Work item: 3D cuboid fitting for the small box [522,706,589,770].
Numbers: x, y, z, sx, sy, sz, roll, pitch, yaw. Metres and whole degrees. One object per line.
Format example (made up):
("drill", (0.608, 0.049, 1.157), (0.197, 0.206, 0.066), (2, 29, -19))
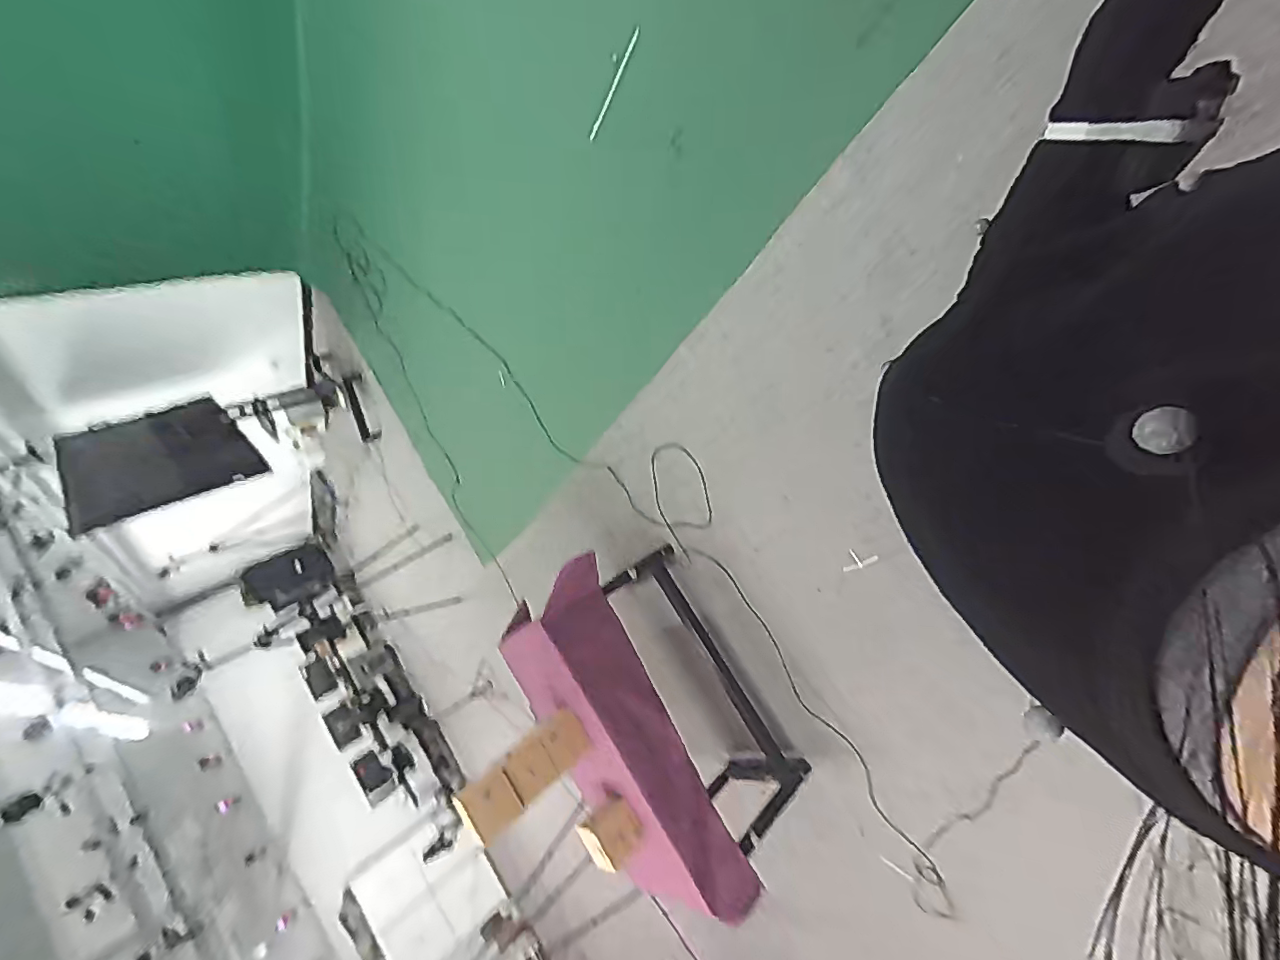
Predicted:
("small box", (-0.336, 1.017, 2.145), (0.179, 0.176, 0.168), (59, 143, 5))

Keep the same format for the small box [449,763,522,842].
("small box", (-0.553, 1.142, 1.933), (0.179, 0.176, 0.168), (58, 143, 5))

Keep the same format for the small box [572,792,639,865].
("small box", (-0.128, 1.348, 2.105), (0.168, 0.176, 0.179), (58, 143, 6))
